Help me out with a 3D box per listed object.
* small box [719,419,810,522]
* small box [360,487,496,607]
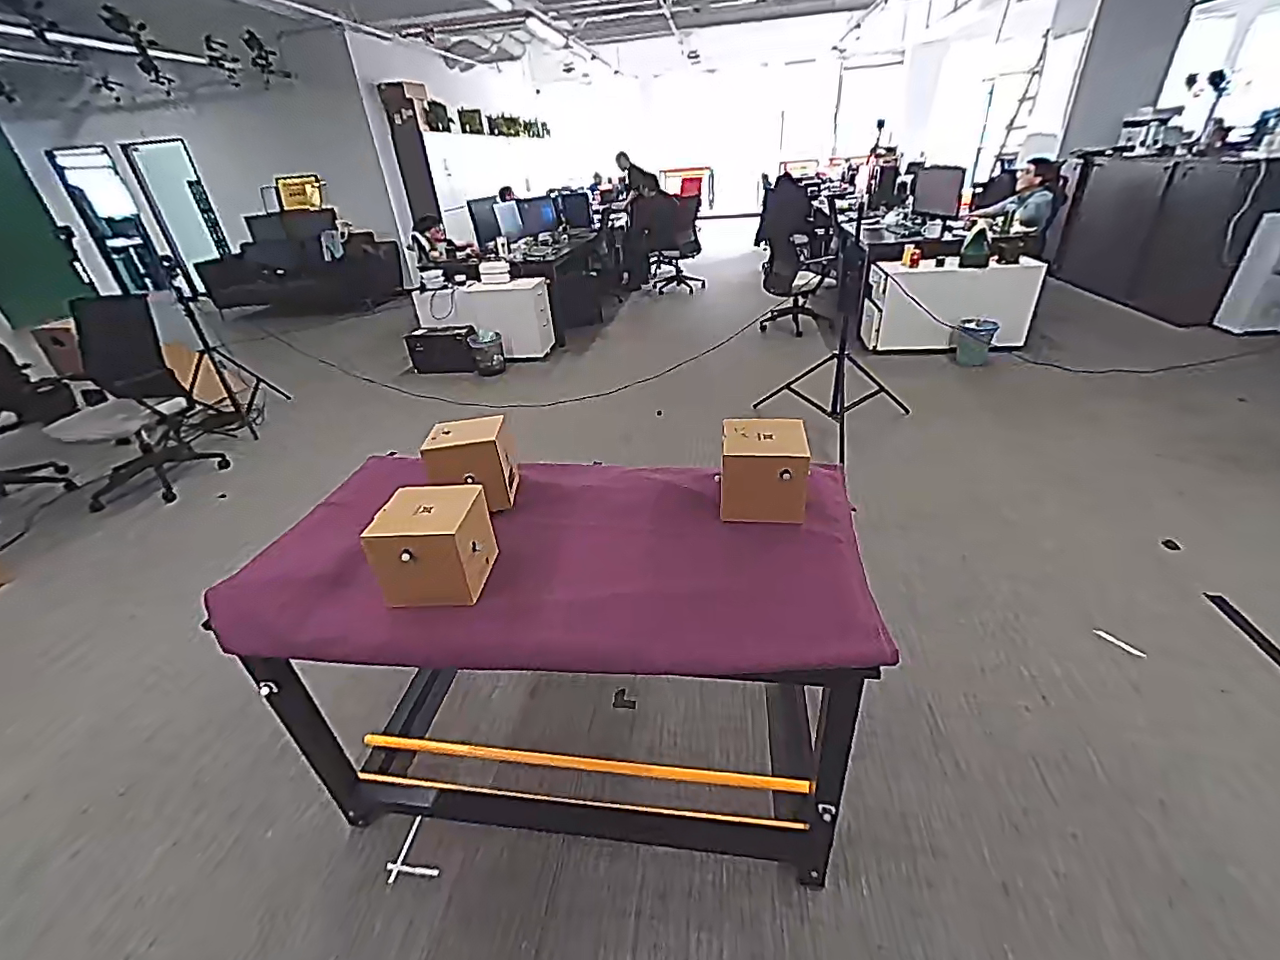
[{"bbox_3d":[0.265,-0.020,1.184,0.179,0.176,0.168,1,32,9],"label":"small box"},{"bbox_3d":[-0.391,0.129,1.038,0.179,0.176,0.168,-2,30,5],"label":"small box"}]
